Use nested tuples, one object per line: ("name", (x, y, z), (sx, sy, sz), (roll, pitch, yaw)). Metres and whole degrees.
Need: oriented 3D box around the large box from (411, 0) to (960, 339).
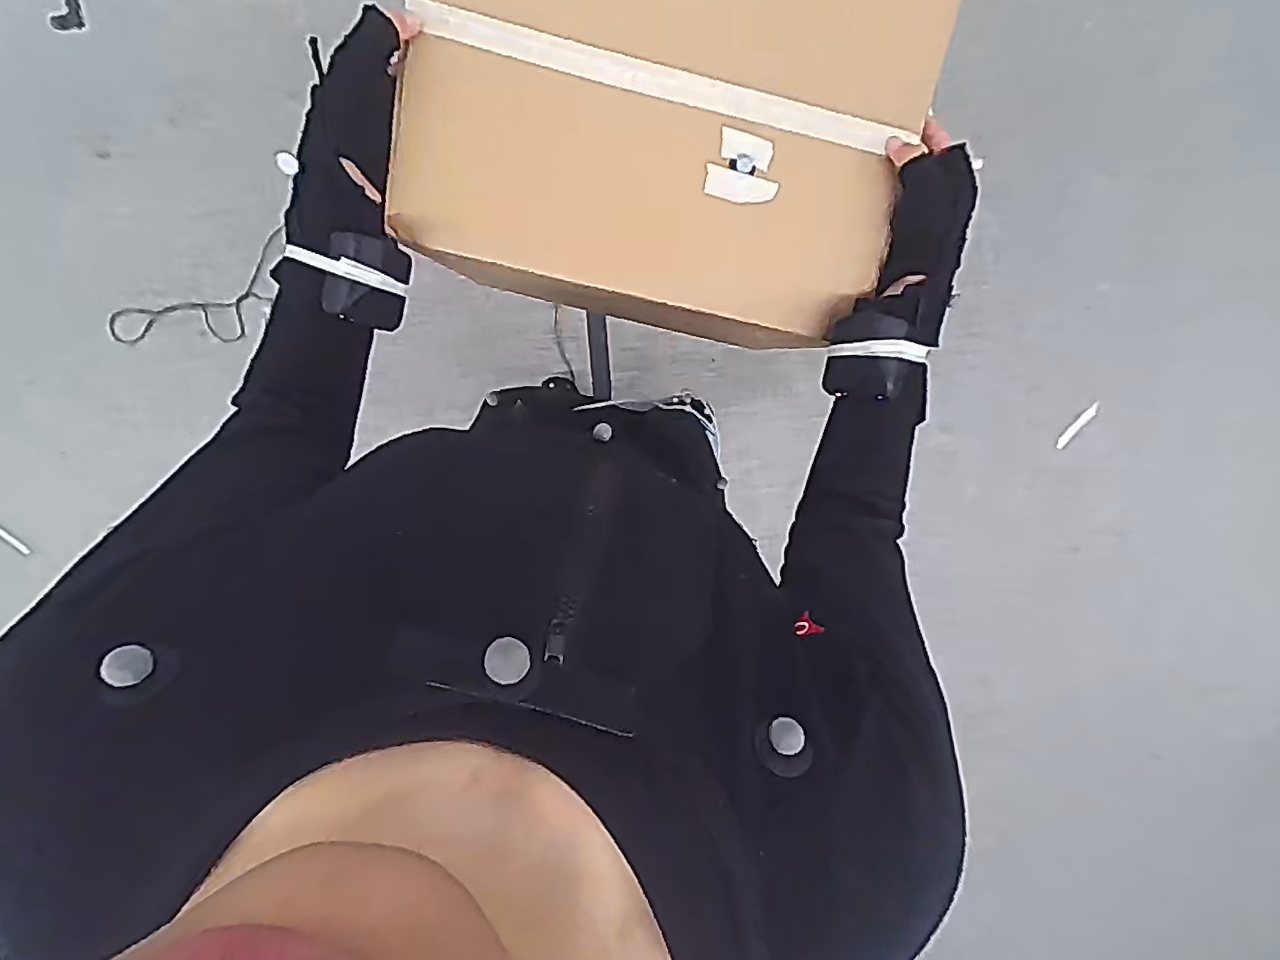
("large box", (0.024, -0.346, 0.571), (0.408, 0.320, 0.320), (11, 103, -7))
